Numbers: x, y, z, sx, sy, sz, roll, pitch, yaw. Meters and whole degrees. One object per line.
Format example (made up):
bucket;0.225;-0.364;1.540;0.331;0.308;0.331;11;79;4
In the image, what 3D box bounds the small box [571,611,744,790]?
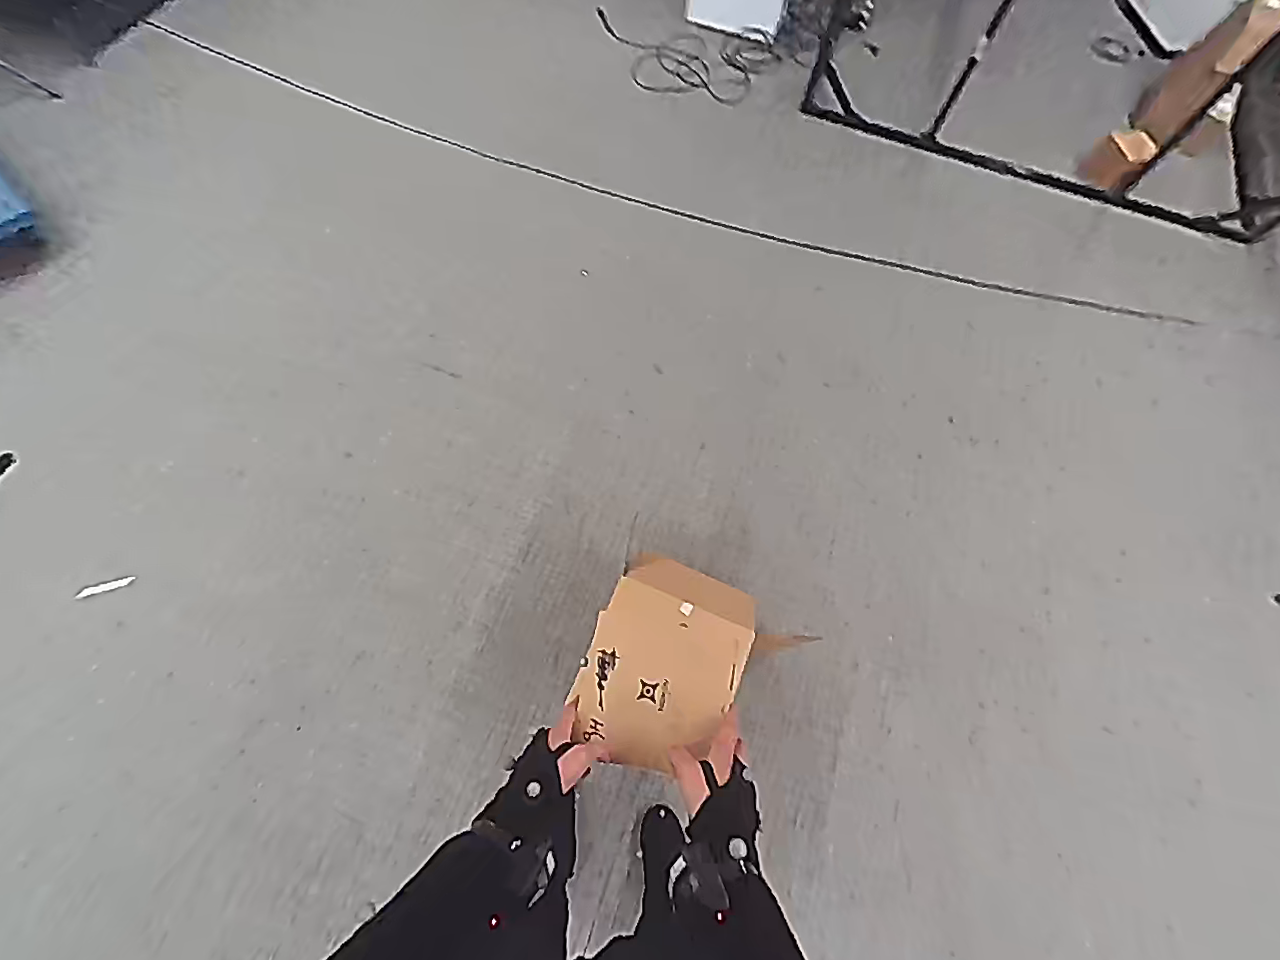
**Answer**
small box;0.027;0.278;0.702;0.179;0.176;0.168;10;70;8
